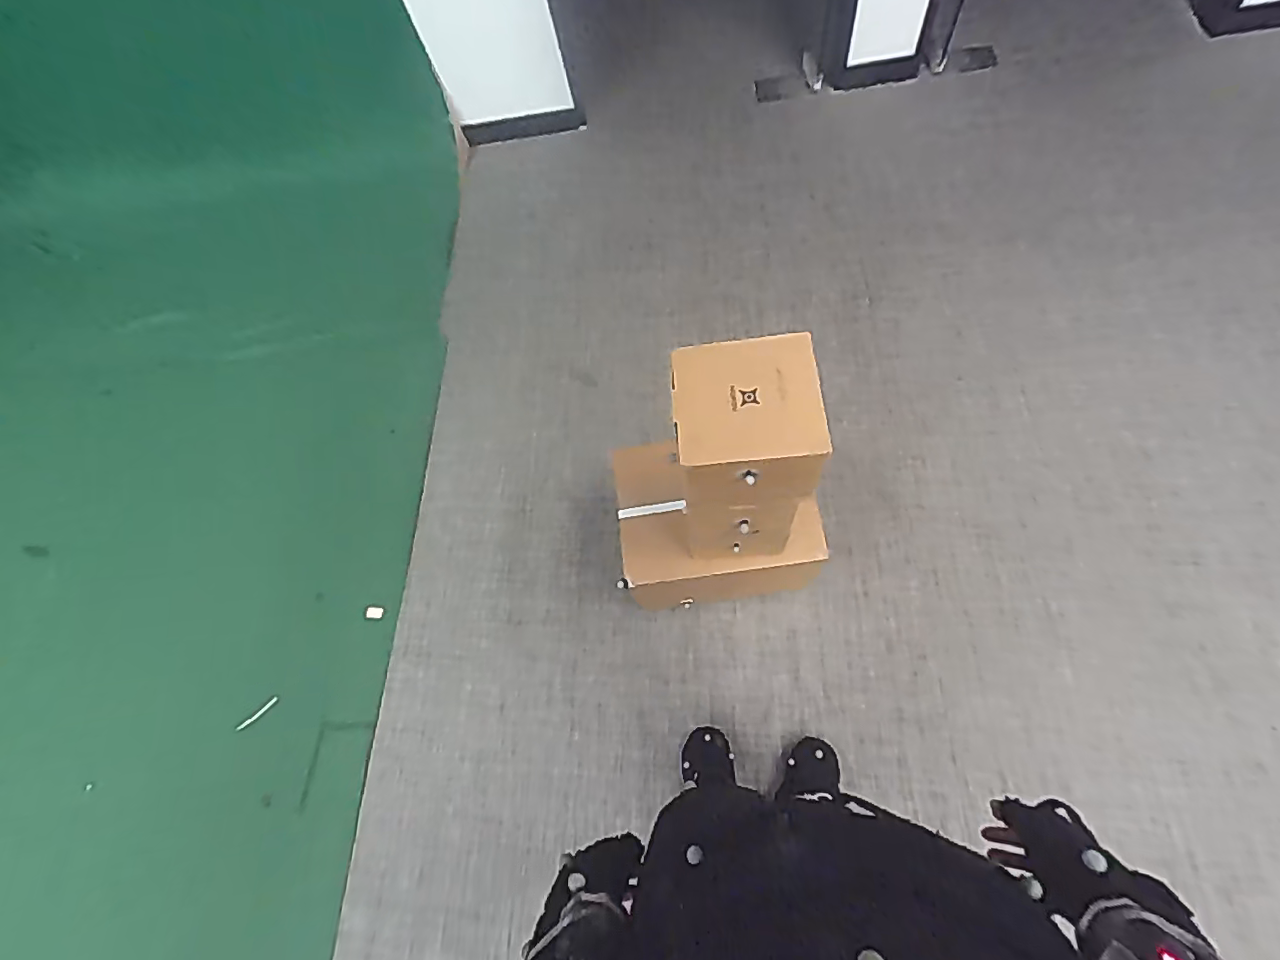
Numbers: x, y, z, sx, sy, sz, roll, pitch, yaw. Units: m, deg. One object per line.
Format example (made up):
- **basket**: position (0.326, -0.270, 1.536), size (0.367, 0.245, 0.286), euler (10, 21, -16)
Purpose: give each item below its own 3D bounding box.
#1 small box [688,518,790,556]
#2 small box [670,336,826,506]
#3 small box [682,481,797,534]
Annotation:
- **small box**: position (0.181, 0.045, 1.035), size (0.179, 0.176, 0.168), euler (-5, 67, 8)
- **small box**: position (0.139, -0.069, 0.733), size (0.179, 0.176, 0.168), euler (-5, 69, 6)
- **small box**: position (0.155, -0.015, 0.886), size (0.168, 0.176, 0.179), euler (-6, 68, 7)
